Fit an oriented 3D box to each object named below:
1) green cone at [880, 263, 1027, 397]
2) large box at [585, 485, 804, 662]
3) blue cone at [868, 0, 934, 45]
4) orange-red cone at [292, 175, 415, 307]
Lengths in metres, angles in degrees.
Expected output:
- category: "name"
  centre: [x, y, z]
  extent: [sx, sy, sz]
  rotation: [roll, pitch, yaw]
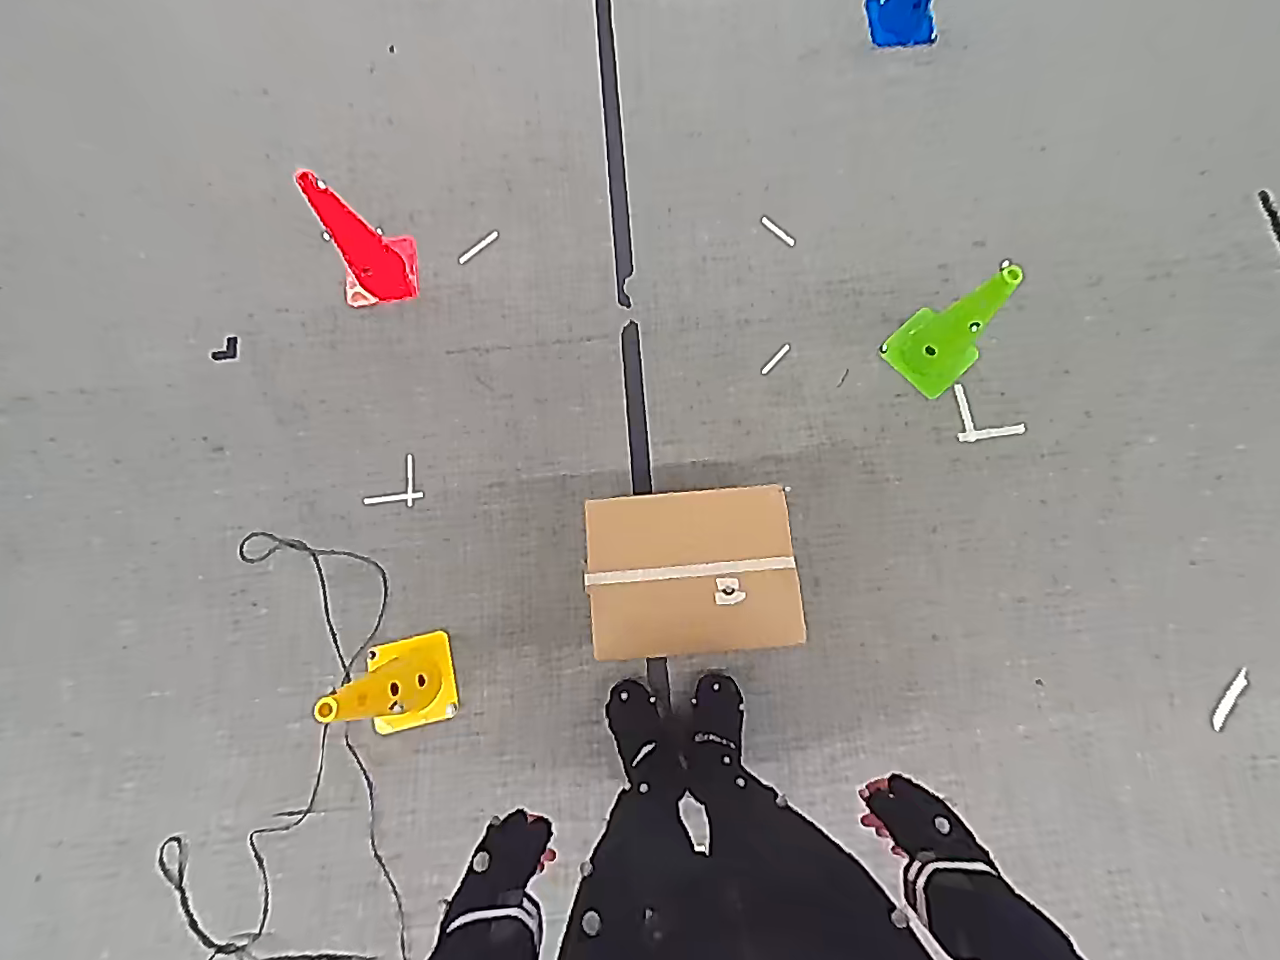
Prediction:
- category: "green cone"
  centre: [0.769, -0.380, 1.274]
  extent: [0.202, 0.368, 0.200]
  rotation: [-42, 80, -9]
- category: "large box"
  centre: [0.101, 0.213, 1.197]
  extent: [0.408, 0.320, 0.320]
  rotation: [-5, 77, 0]
- category: "blue cone"
  centre: [0.817, -1.480, 1.536]
  extent: [0.192, 0.380, 0.193]
  rotation: [-2, 78, 0]
- category: "orange-red cone"
  centre: [-0.746, -0.624, 1.369]
  extent: [0.198, 0.360, 0.199]
  rotation: [-8, 79, 1]
